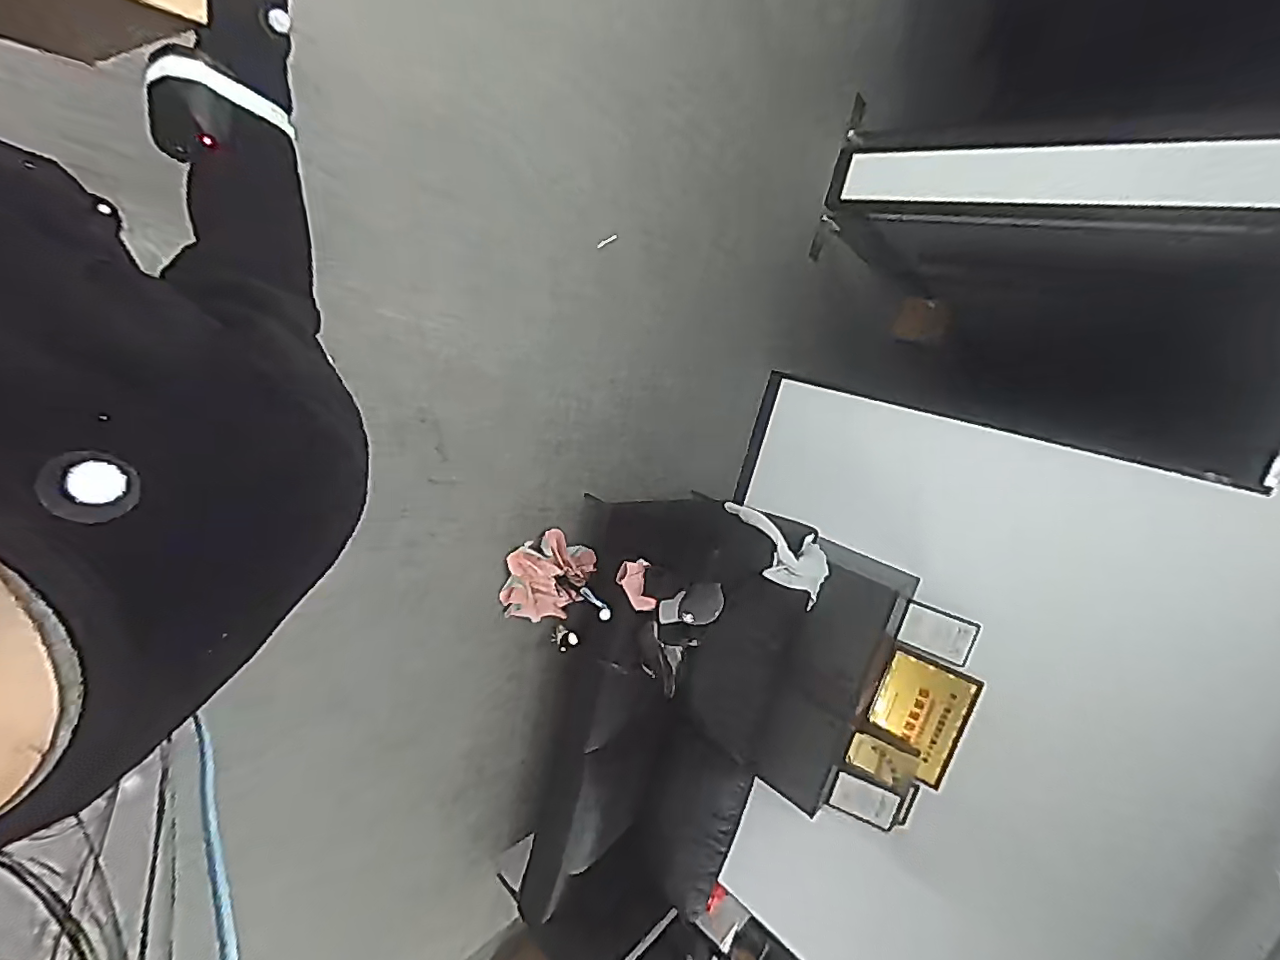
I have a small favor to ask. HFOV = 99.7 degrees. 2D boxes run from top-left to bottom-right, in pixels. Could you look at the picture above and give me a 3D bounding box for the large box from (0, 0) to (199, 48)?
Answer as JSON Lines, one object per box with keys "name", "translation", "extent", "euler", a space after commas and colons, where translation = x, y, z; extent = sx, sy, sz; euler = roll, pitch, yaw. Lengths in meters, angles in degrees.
{"name": "large box", "translation": [-0.540, -0.485, 0.272], "extent": [0.408, 0.320, 0.320], "euler": [-19, 123, -51]}
